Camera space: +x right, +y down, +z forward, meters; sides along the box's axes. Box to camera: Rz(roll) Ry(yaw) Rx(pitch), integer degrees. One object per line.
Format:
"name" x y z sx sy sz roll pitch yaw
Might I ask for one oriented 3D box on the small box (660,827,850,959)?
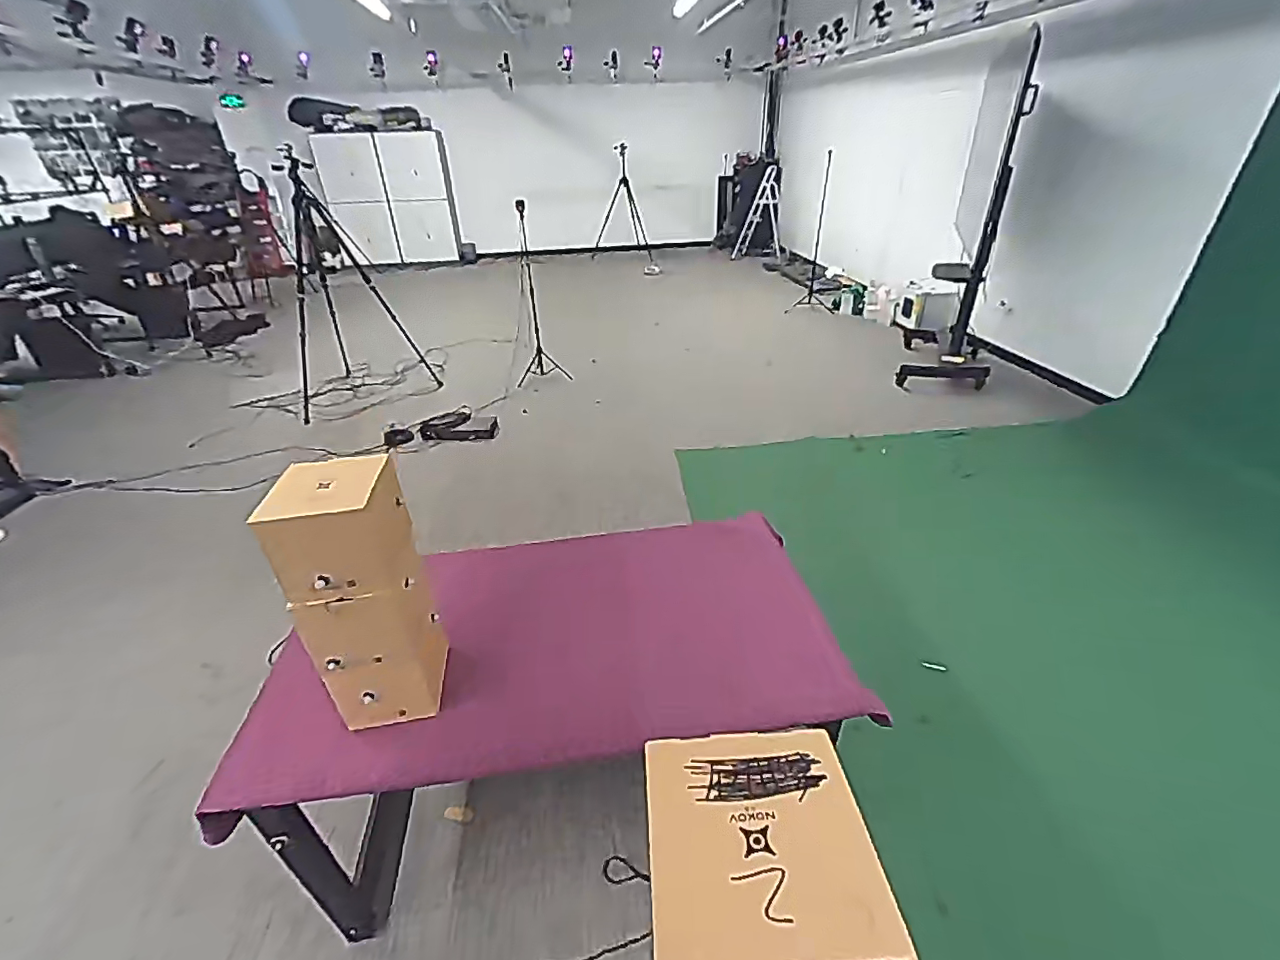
"small box" 0.107 0.476 0.523 0.168 0.176 0.179 -3 24 4

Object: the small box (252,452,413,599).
"small box" -0.495 0.073 0.904 0.168 0.176 0.179 -7 32 -6

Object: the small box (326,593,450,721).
"small box" -0.485 0.354 1.072 0.168 0.176 0.179 -8 32 -8

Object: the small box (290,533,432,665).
"small box" -0.490 0.215 0.983 0.168 0.176 0.179 -7 31 -7
